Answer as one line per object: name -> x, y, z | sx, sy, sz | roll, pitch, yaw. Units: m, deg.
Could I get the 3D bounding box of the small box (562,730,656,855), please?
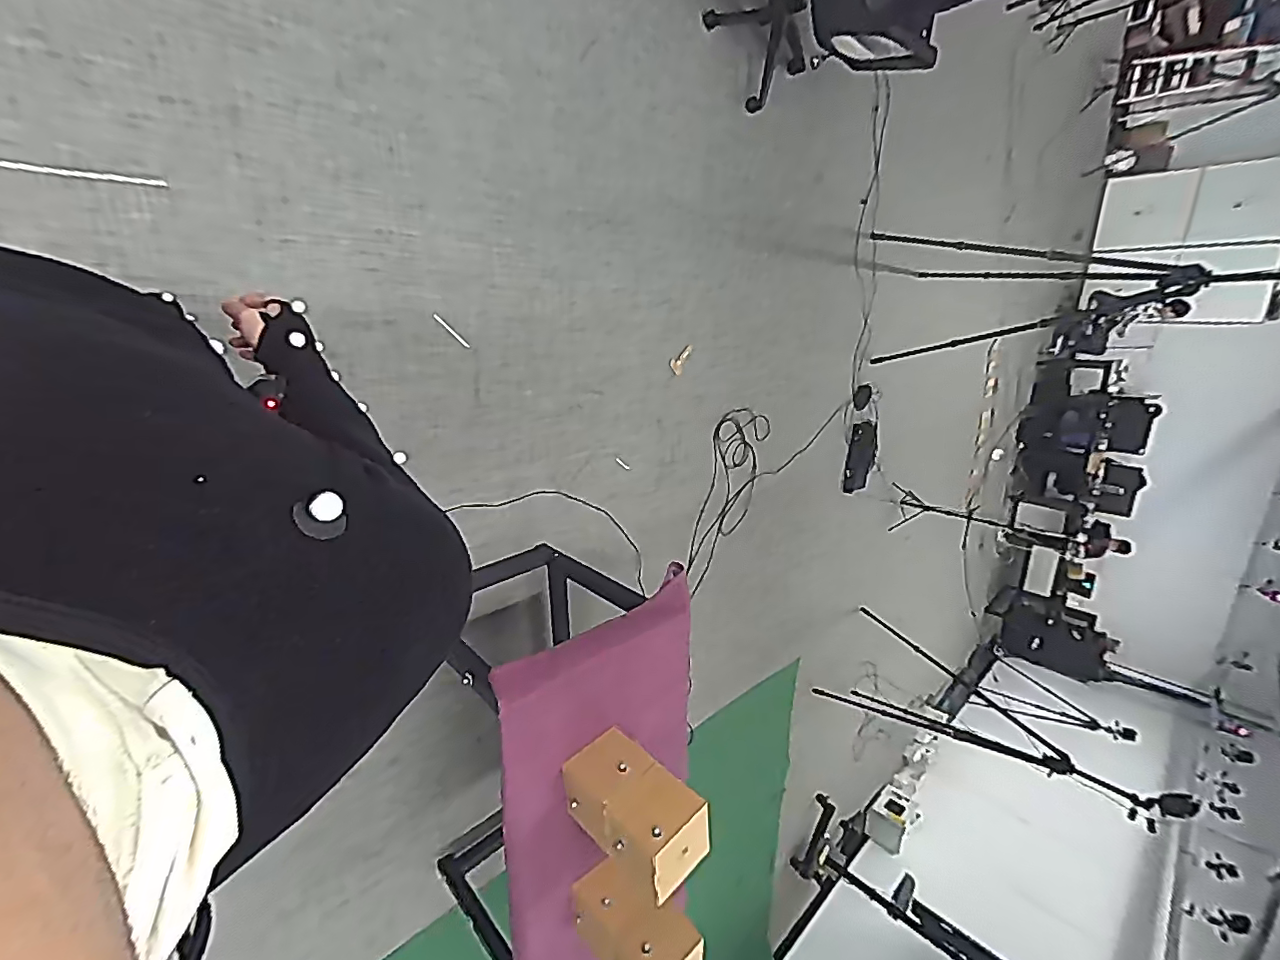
small box -> -0.074, 0.774, 1.363 | 0.179, 0.176, 0.168 | -20, 115, -39

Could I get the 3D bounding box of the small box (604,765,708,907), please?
small box -> 0.039, 0.811, 1.252 | 0.179, 0.176, 0.168 | -22, 117, -37

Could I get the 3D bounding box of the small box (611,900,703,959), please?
small box -> 0.037, 1.220, 1.371 | 0.179, 0.176, 0.168 | -12, 110, -41
